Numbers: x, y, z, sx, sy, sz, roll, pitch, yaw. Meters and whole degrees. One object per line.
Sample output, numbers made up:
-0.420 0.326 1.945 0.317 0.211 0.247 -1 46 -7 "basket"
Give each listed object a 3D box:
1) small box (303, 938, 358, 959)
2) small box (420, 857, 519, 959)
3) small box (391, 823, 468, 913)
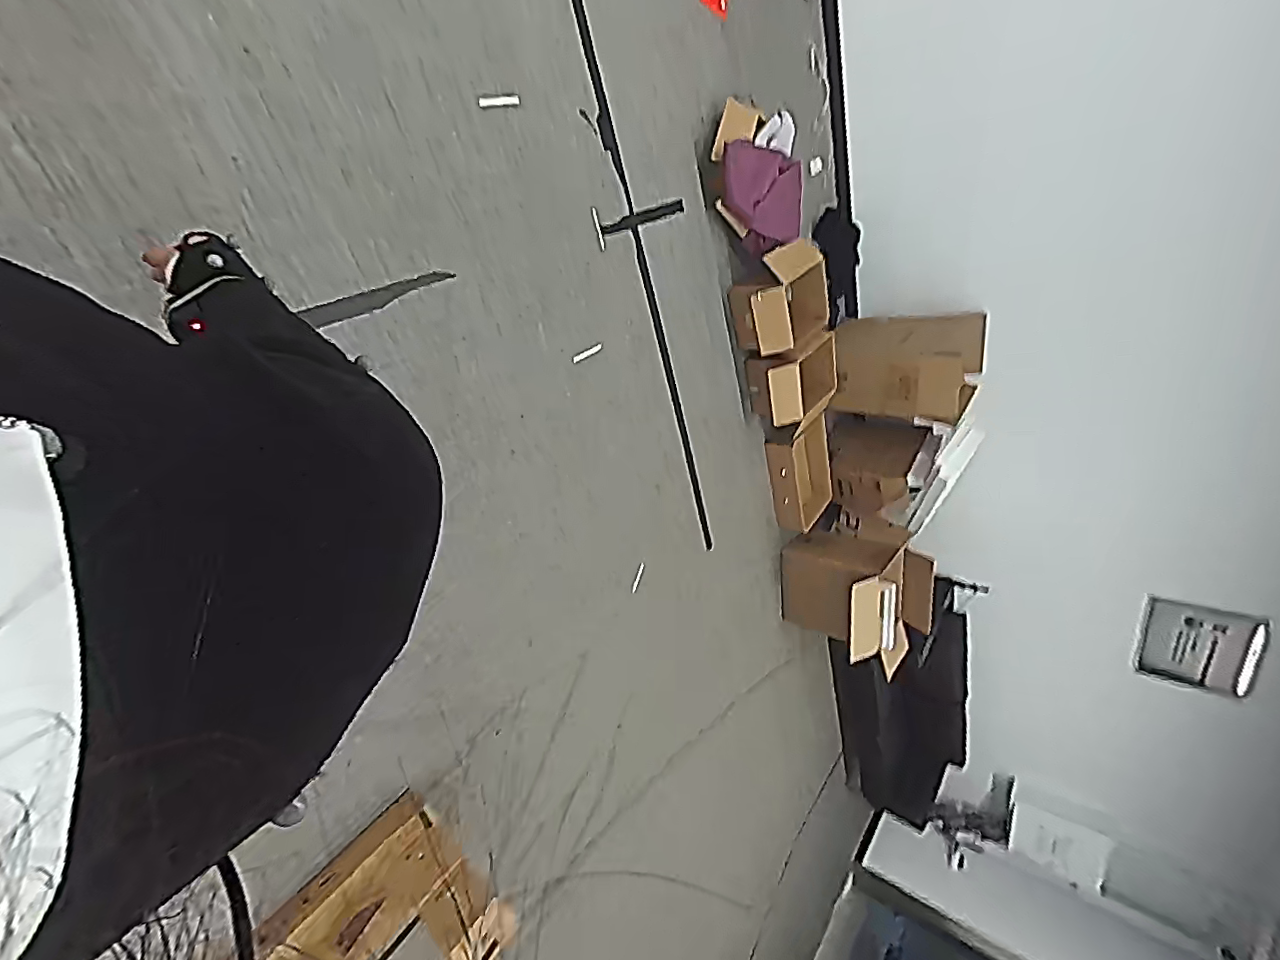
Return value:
-0.823 1.353 1.409 0.168 0.176 0.179 -42 127 -35 "small box"
-0.478 1.213 1.516 0.168 0.176 0.179 -41 127 -35 "small box"
-0.605 1.176 1.614 0.168 0.176 0.179 -40 126 -36 "small box"
